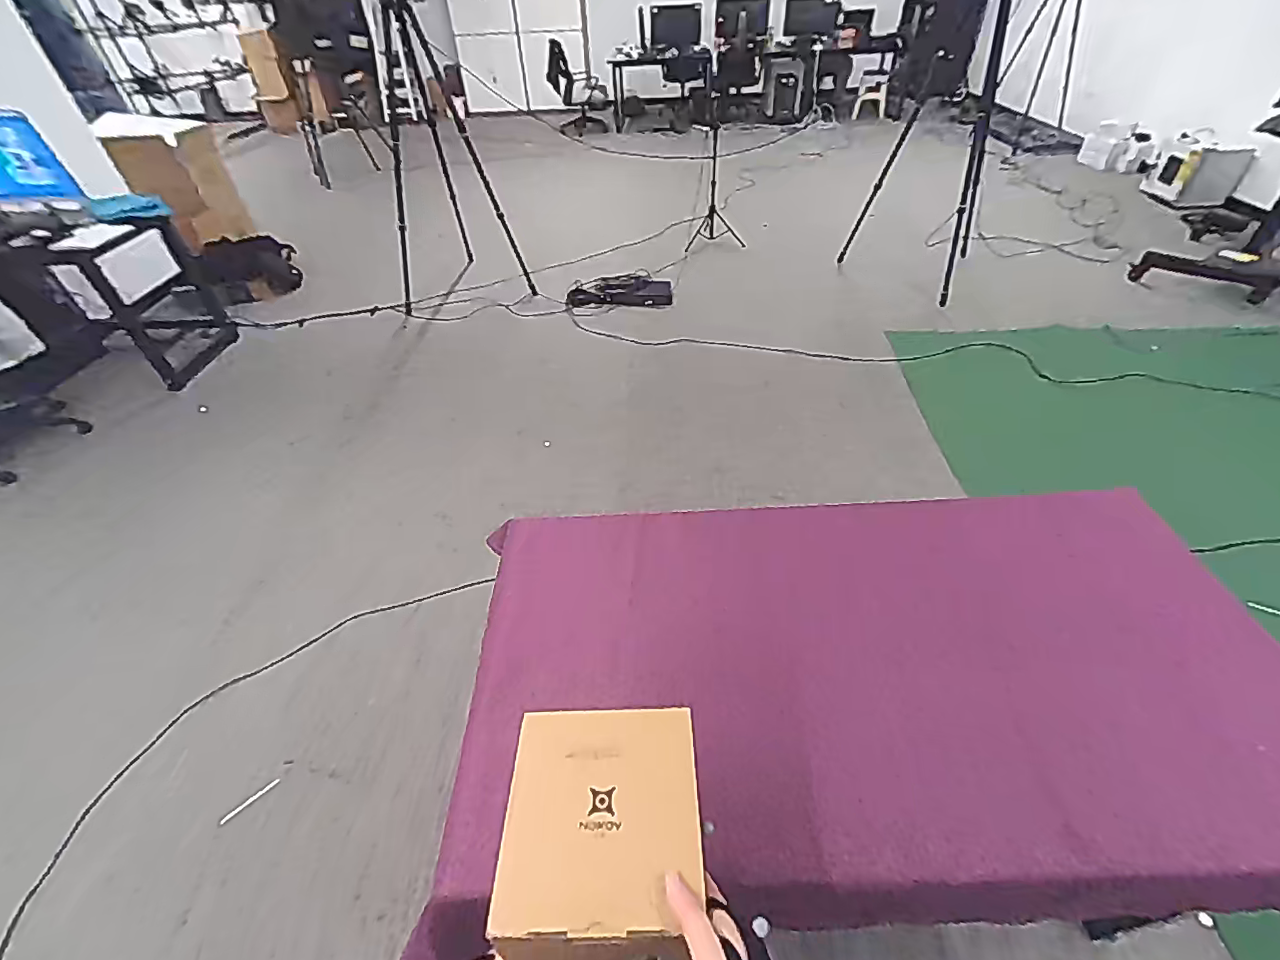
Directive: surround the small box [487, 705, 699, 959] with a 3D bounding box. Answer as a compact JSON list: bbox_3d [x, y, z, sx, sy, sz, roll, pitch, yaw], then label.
[{"bbox_3d":[-0.030,0.341,0.518,0.168,0.176,0.179,-1,37,1],"label":"small box"}]
